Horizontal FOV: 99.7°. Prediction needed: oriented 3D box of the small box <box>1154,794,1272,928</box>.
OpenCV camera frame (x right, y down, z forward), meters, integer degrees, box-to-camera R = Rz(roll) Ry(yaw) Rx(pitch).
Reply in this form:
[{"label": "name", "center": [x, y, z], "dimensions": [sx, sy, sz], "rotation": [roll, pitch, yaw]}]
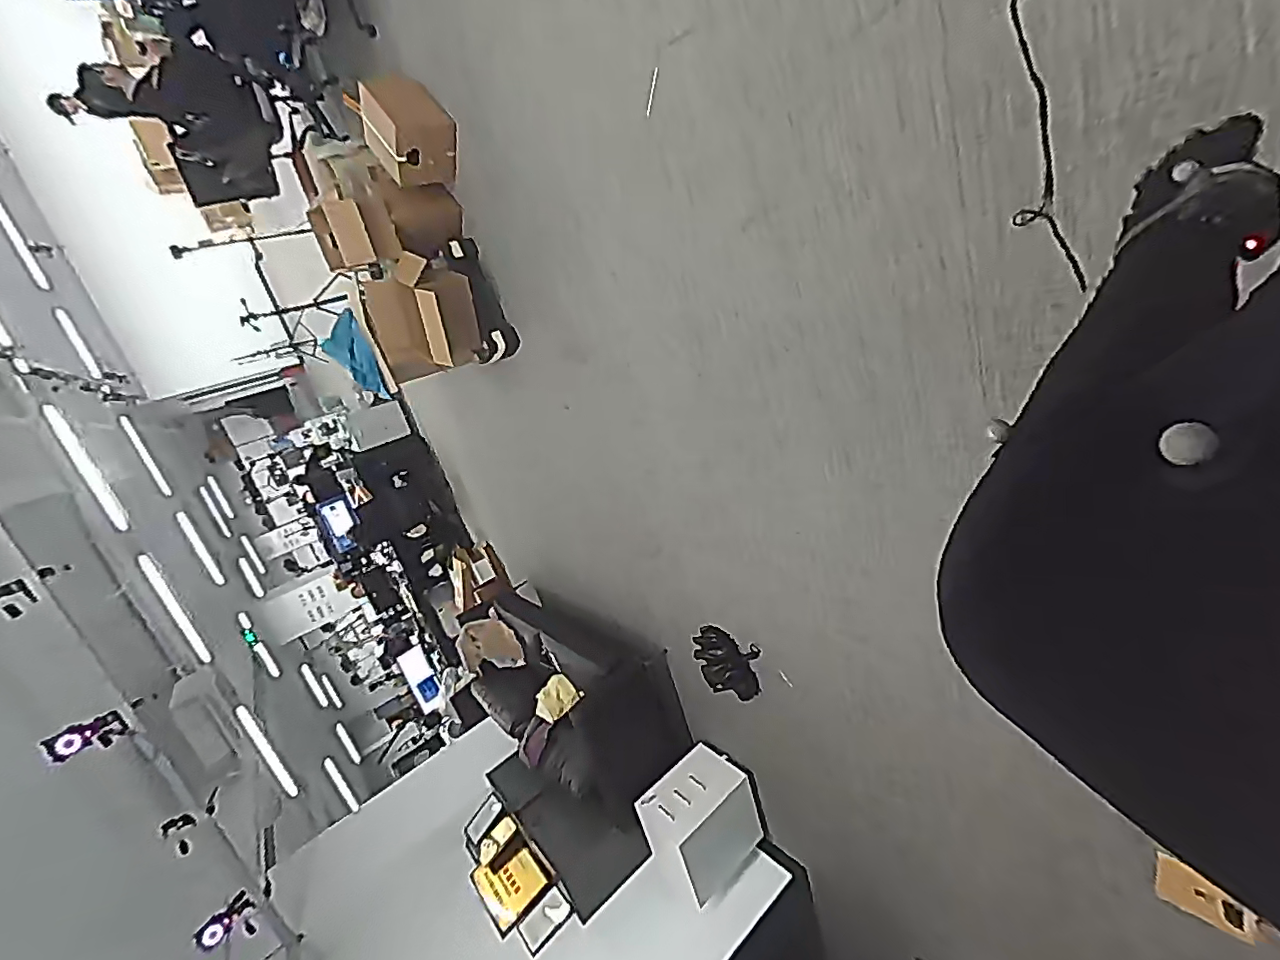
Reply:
[{"label": "small box", "center": [1.418, 0.931, 1.340], "dimensions": [0.179, 0.176, 0.168], "rotation": [12, 124, 54]}]
